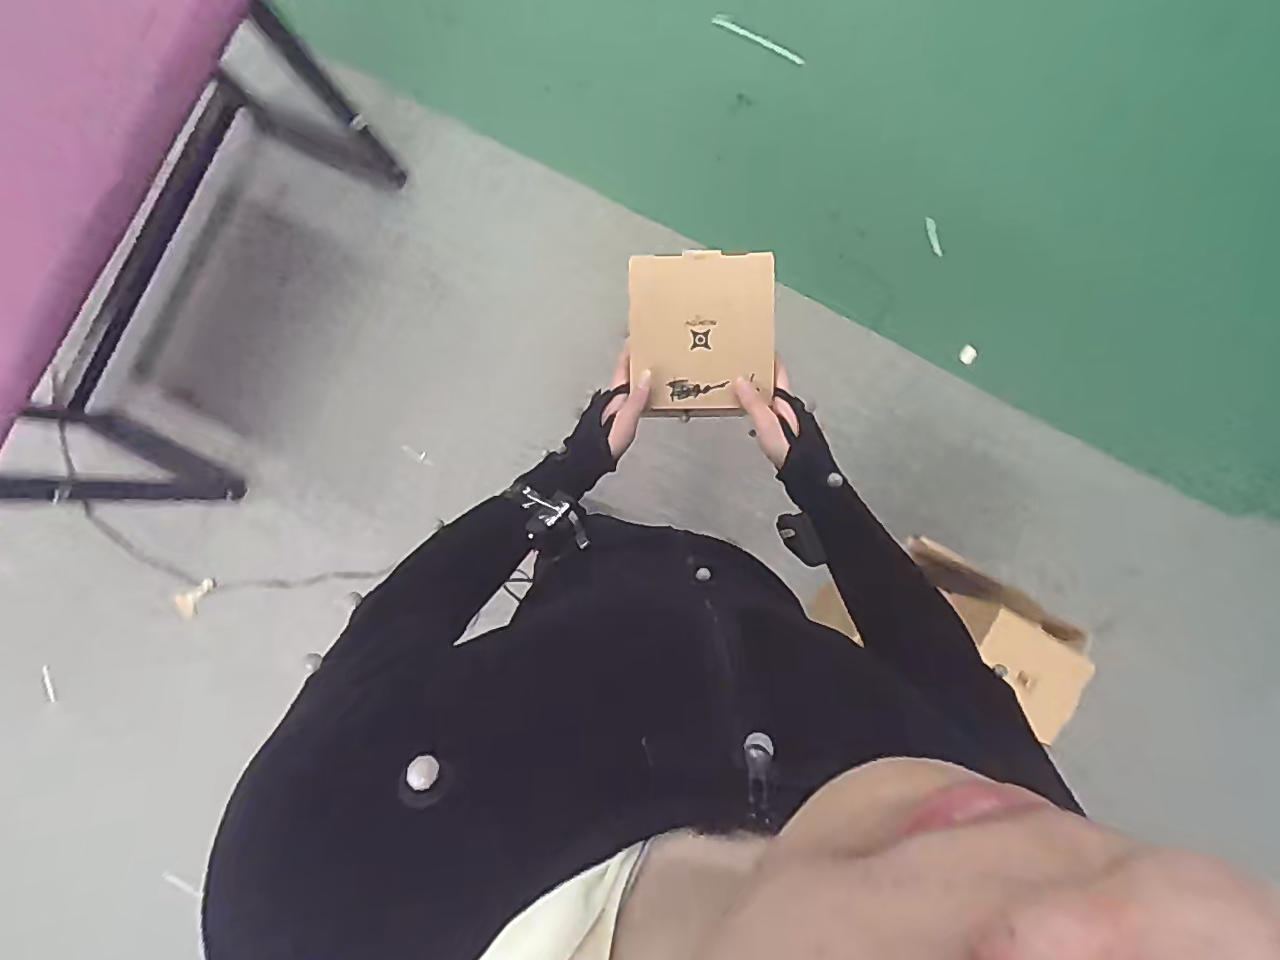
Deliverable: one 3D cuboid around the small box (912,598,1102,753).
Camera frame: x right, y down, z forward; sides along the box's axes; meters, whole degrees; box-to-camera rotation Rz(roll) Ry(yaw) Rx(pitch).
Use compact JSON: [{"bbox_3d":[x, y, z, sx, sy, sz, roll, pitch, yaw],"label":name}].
[{"bbox_3d":[0.620,0.322,0.937,0.179,0.176,0.168,32,88,4],"label":"small box"}]
